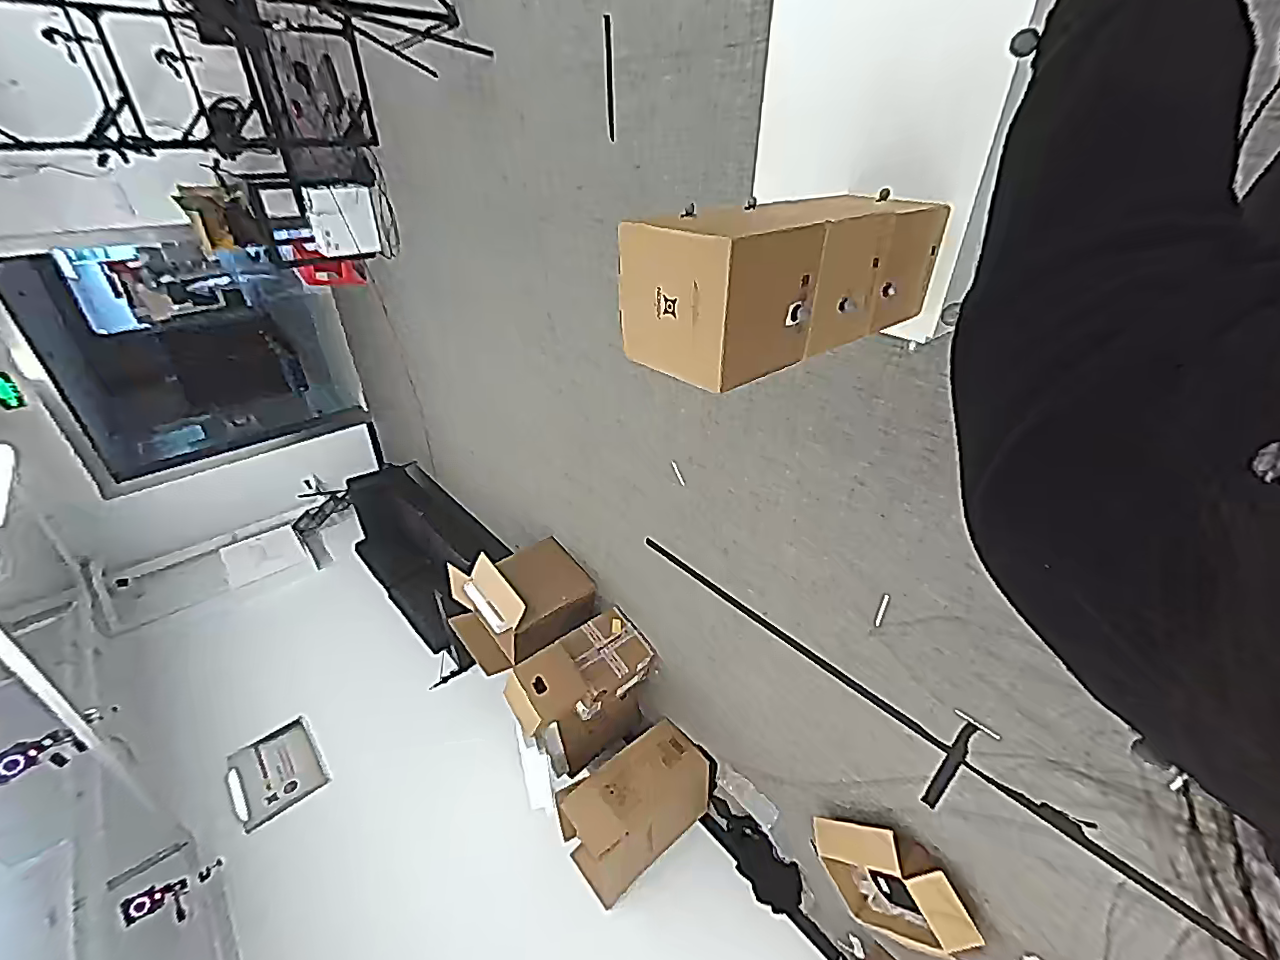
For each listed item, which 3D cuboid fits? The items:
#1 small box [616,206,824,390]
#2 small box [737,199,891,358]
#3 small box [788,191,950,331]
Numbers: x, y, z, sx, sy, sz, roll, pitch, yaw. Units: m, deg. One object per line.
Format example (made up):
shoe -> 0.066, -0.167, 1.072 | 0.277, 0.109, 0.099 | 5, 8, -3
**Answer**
small box -> 0.090, -0.229, 0.654 | 0.179, 0.176, 0.168 | 30, 135, 39
small box -> 0.213, -0.286, 0.744 | 0.179, 0.176, 0.168 | 32, 134, 40
small box -> 0.334, -0.345, 0.836 | 0.179, 0.176, 0.168 | 33, 135, 39
